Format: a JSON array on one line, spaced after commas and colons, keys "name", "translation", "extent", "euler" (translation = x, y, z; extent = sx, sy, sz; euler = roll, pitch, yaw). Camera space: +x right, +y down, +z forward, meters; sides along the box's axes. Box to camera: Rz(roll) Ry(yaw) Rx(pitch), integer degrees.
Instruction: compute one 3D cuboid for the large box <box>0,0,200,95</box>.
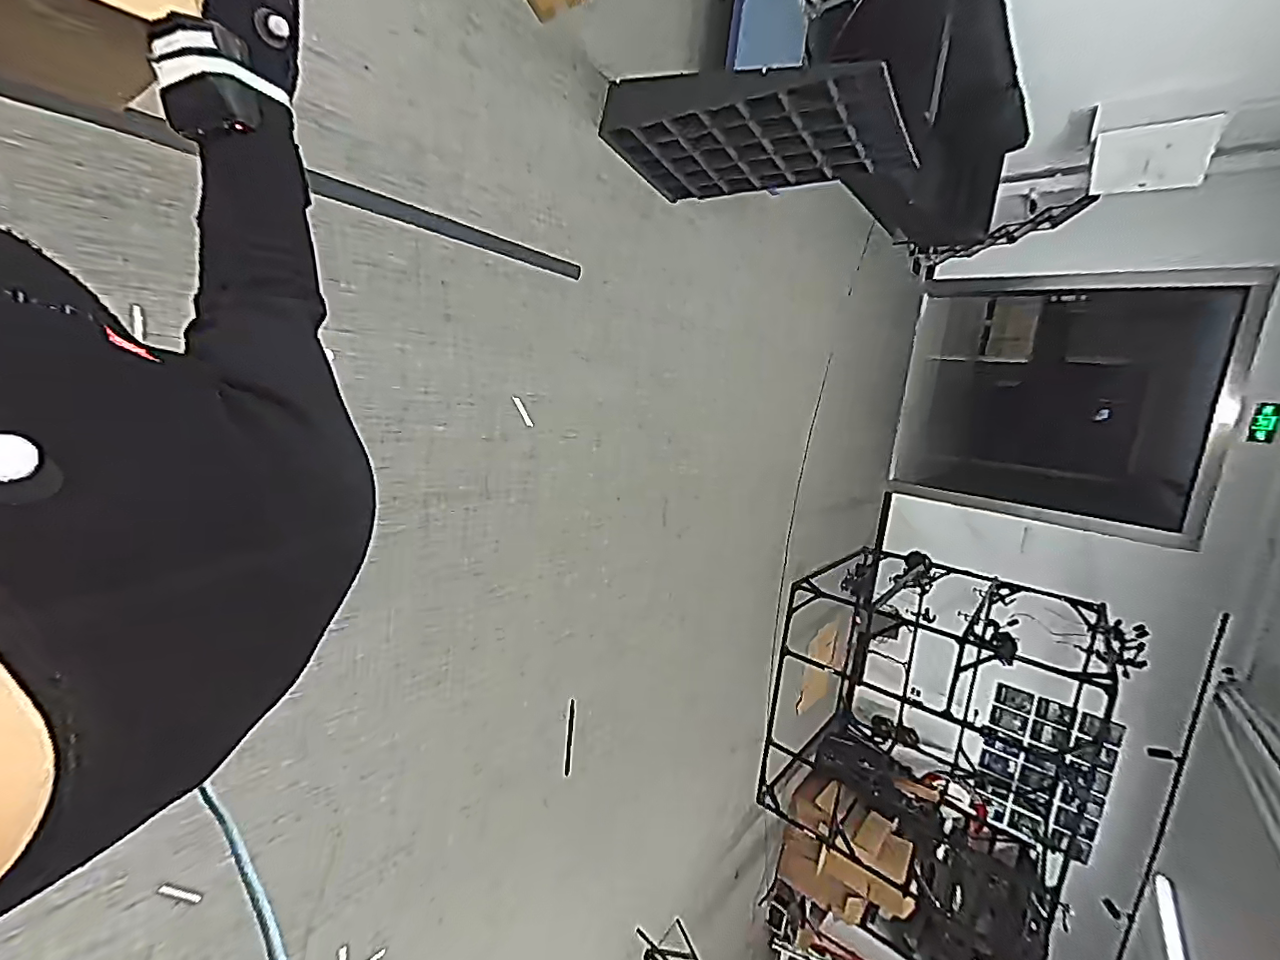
[{"name": "large box", "translation": [-0.548, -0.488, 0.296], "extent": [0.408, 0.320, 0.320], "euler": [-10, 113, -52]}]
